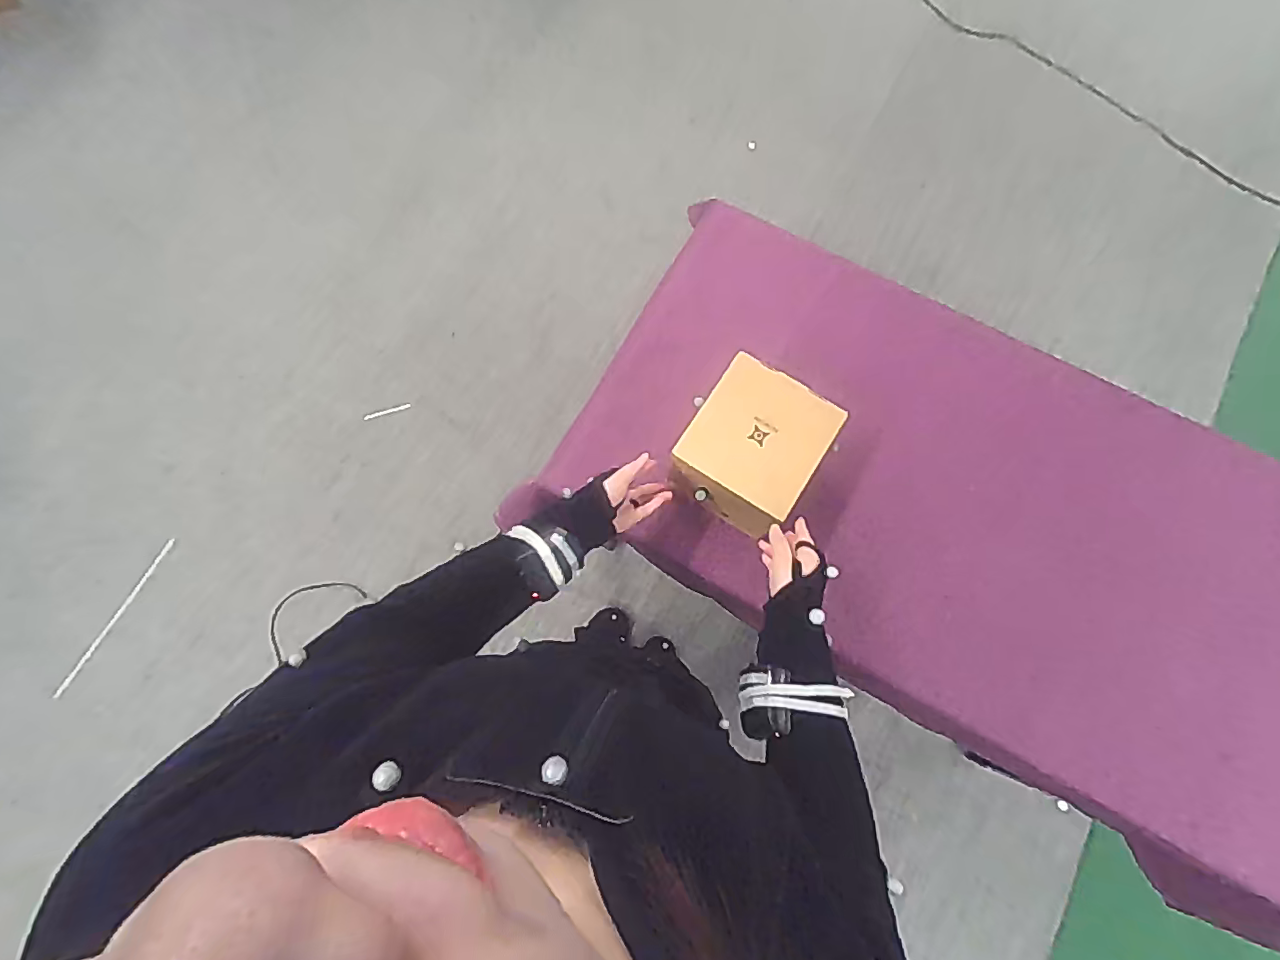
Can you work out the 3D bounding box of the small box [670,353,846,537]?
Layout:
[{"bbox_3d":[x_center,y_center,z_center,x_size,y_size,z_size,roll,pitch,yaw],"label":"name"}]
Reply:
[{"bbox_3d":[0.155,-0.038,0.766,0.168,0.176,0.179,33,77,9],"label":"small box"}]
